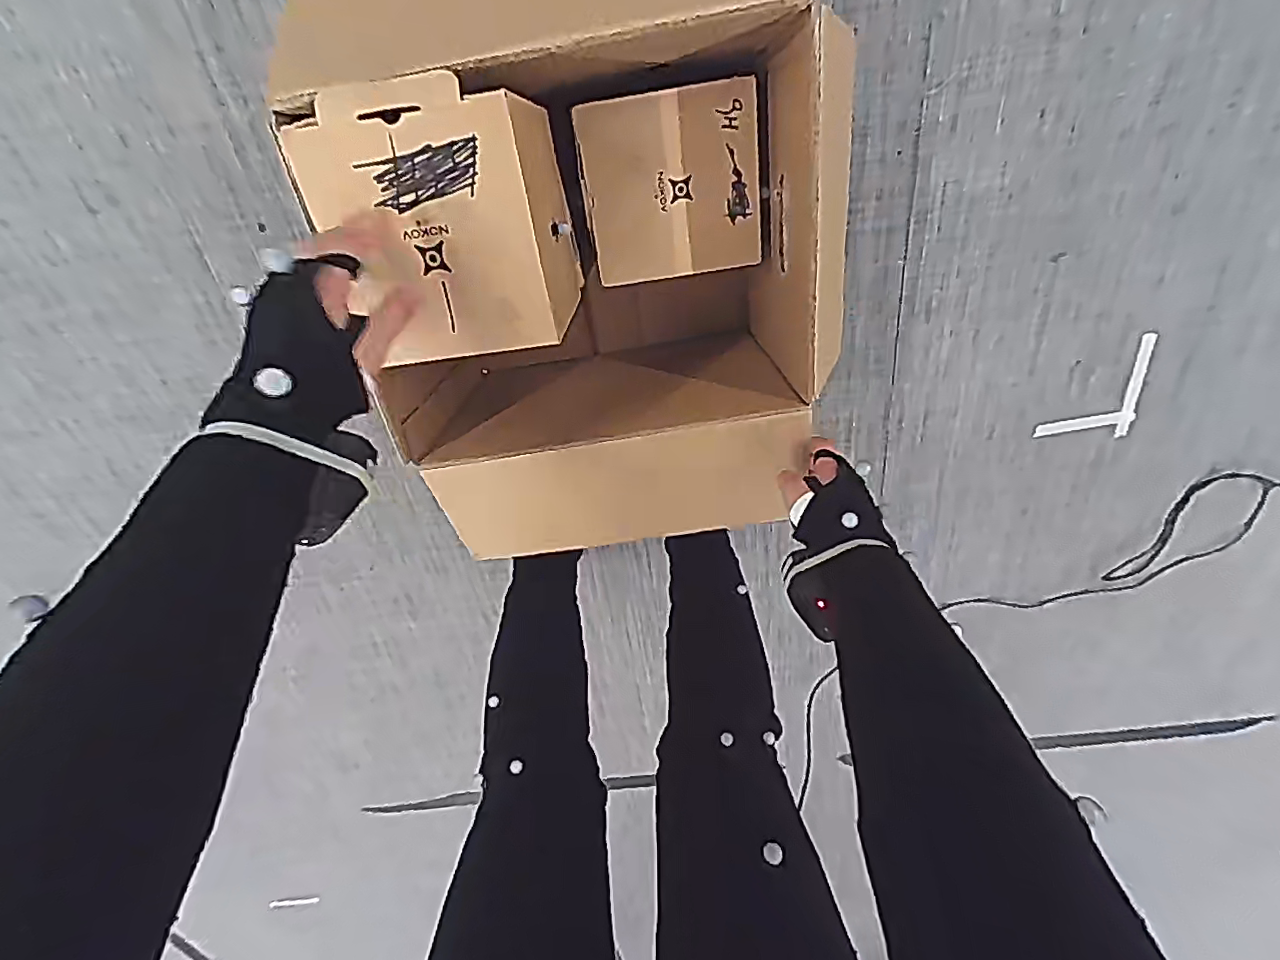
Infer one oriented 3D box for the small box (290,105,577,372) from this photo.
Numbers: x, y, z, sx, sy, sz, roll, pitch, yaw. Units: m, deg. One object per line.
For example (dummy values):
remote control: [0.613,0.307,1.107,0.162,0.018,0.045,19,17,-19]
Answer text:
small box: [-0.158,-0.215,0.488,0.168,0.176,0.179,-6,121,5]
